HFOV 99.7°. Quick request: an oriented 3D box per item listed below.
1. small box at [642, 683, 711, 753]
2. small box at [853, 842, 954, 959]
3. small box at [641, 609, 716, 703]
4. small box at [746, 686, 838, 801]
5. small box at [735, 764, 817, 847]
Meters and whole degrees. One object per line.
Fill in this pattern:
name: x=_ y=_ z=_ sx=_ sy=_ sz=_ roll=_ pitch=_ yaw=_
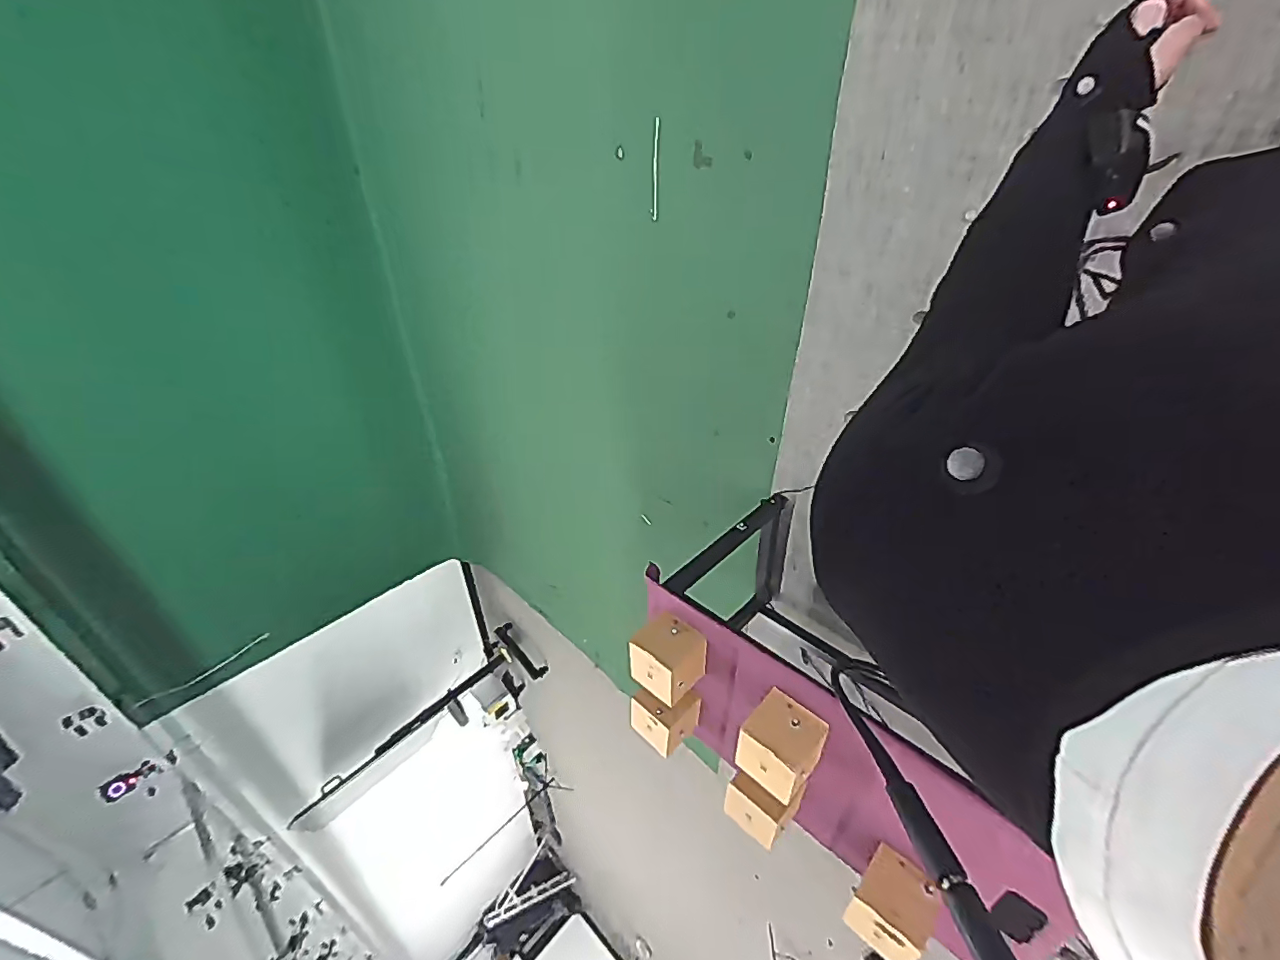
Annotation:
small box: x=0.124 y=0.772 z=1.831 sx=0.168 sy=0.176 sz=0.179 roll=29 pitch=136 yaw=34
small box: x=0.673 y=1.079 z=1.379 sx=0.168 sy=0.176 sz=0.179 roll=28 pitch=135 yaw=36
small box: x=0.119 y=0.533 z=1.655 sx=0.168 sy=0.176 sz=0.179 roll=27 pitch=133 yaw=35
small box: x=0.401 y=0.692 z=1.433 sx=0.168 sy=0.176 sz=0.179 roll=29 pitch=135 yaw=36
small box: x=0.403 y=0.928 z=1.606 sx=0.168 sy=0.176 sz=0.179 roll=29 pitch=134 yaw=35
